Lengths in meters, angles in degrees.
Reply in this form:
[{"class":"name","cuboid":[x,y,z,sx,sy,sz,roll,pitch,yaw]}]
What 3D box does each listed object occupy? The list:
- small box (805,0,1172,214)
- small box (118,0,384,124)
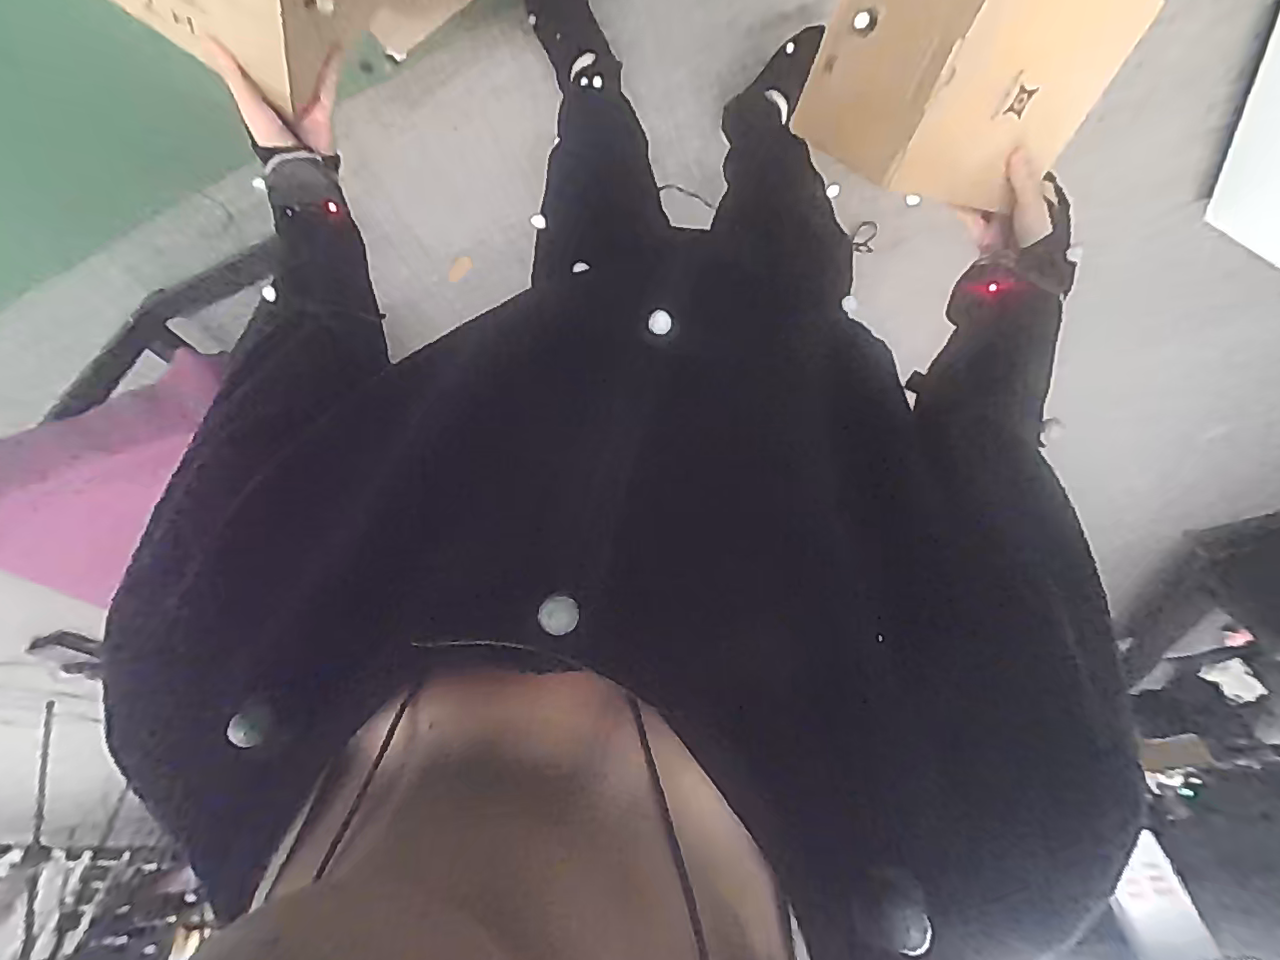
[{"class":"small box","cuboid":[0.287,-0.367,0.485,0.179,0.176,0.168,-3,137,-23]},{"class":"small box","cuboid":[-0.321,-0.457,0.438,0.168,0.176,0.179,30,165,-24]}]
